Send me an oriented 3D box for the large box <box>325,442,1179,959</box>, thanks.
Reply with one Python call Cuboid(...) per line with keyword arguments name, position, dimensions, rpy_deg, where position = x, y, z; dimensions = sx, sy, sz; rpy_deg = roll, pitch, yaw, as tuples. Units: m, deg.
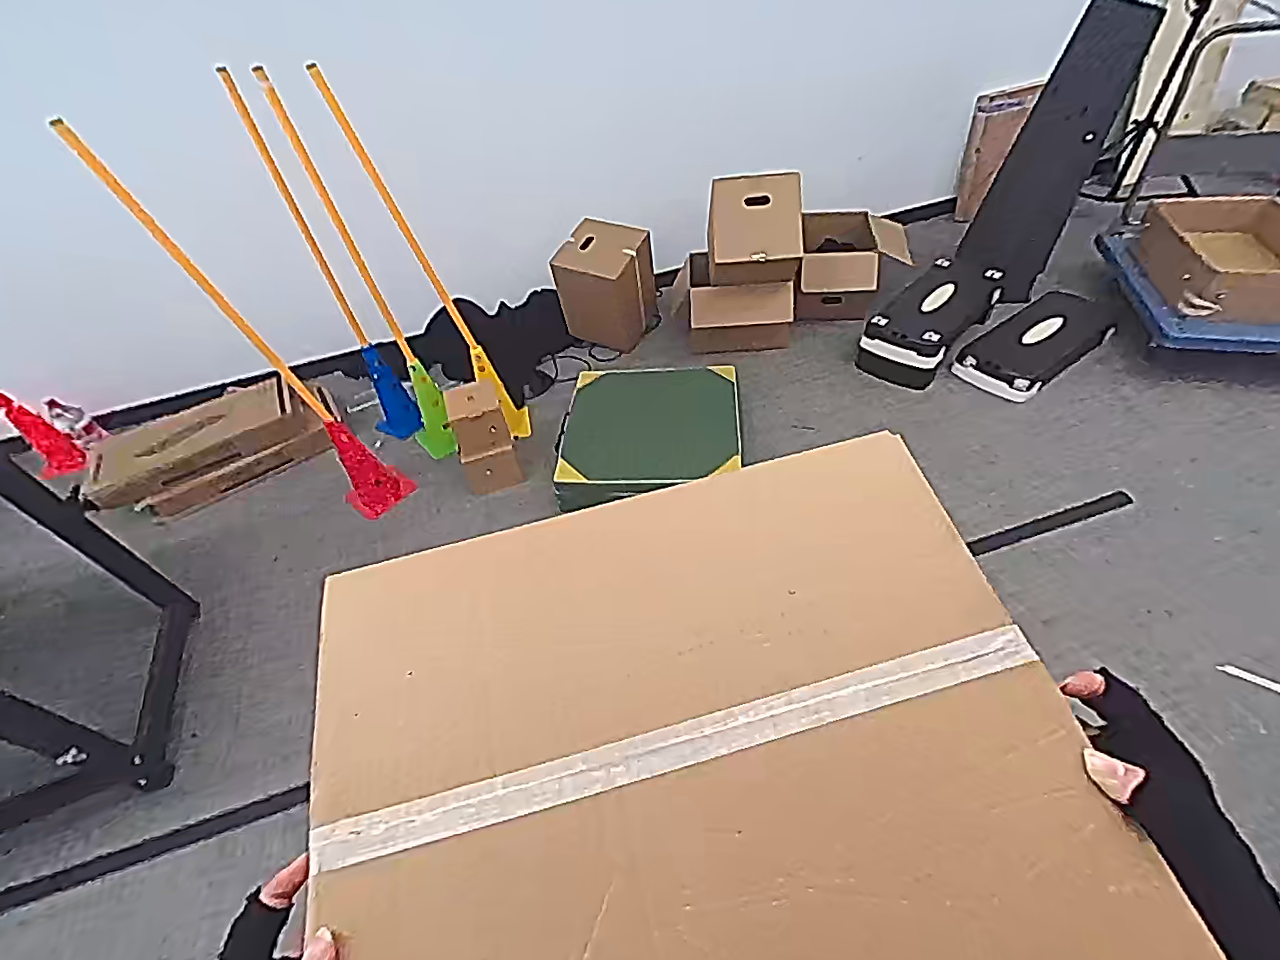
Cuboid(name="large box", position=(0.036, 0.221, 0.437), dimensions=(0.408, 0.320, 0.320), rpy_deg=(-15, 59, -3))
